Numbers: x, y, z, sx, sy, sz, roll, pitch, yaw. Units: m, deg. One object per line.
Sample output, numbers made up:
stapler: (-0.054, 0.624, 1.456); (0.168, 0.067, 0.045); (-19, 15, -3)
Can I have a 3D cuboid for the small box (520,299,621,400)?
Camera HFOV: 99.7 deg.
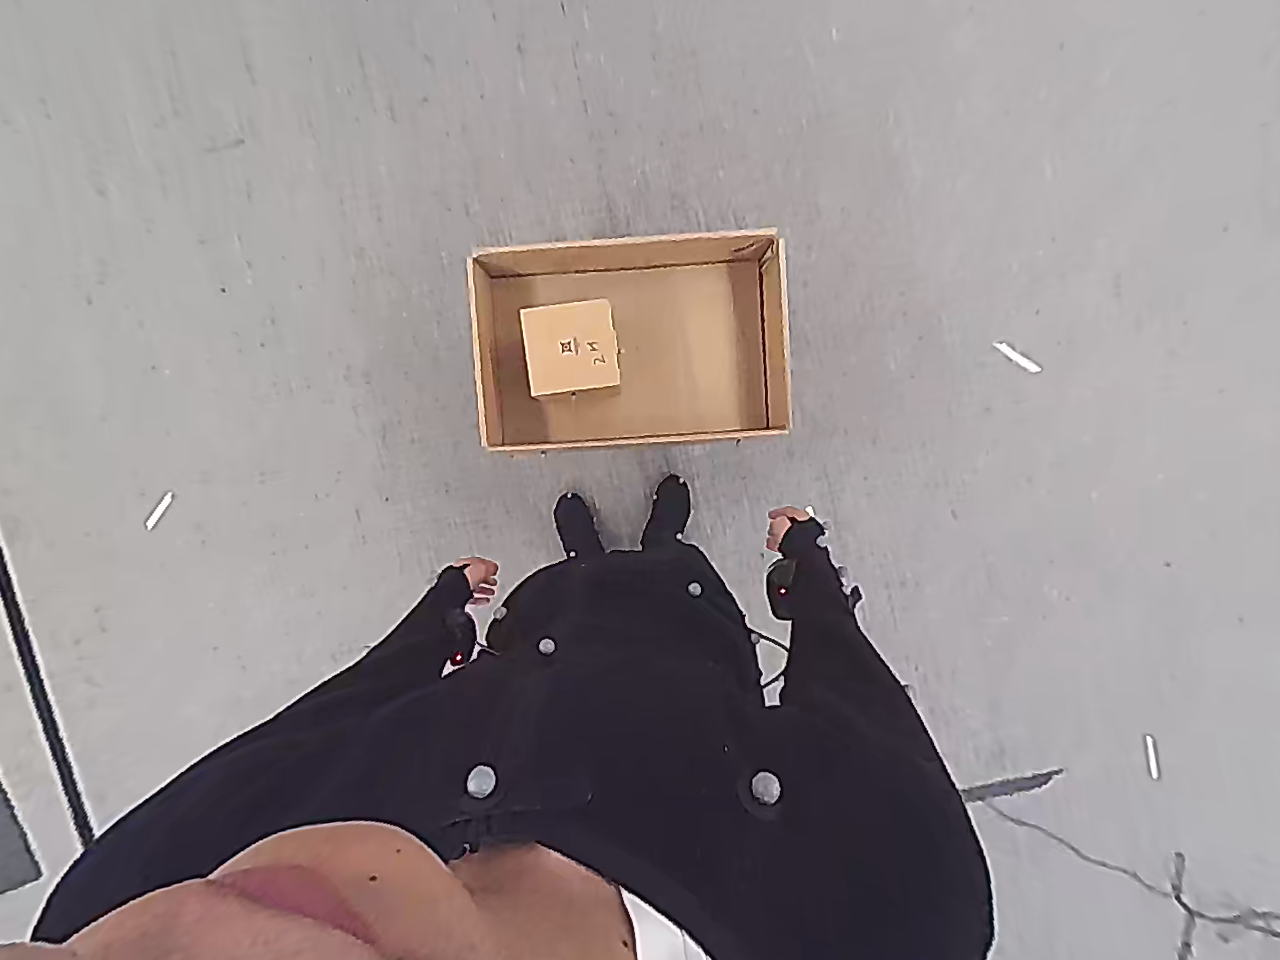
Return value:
small box: (-0.134, -0.258, 1.105); (0.179, 0.176, 0.168); (-7, 94, -1)
